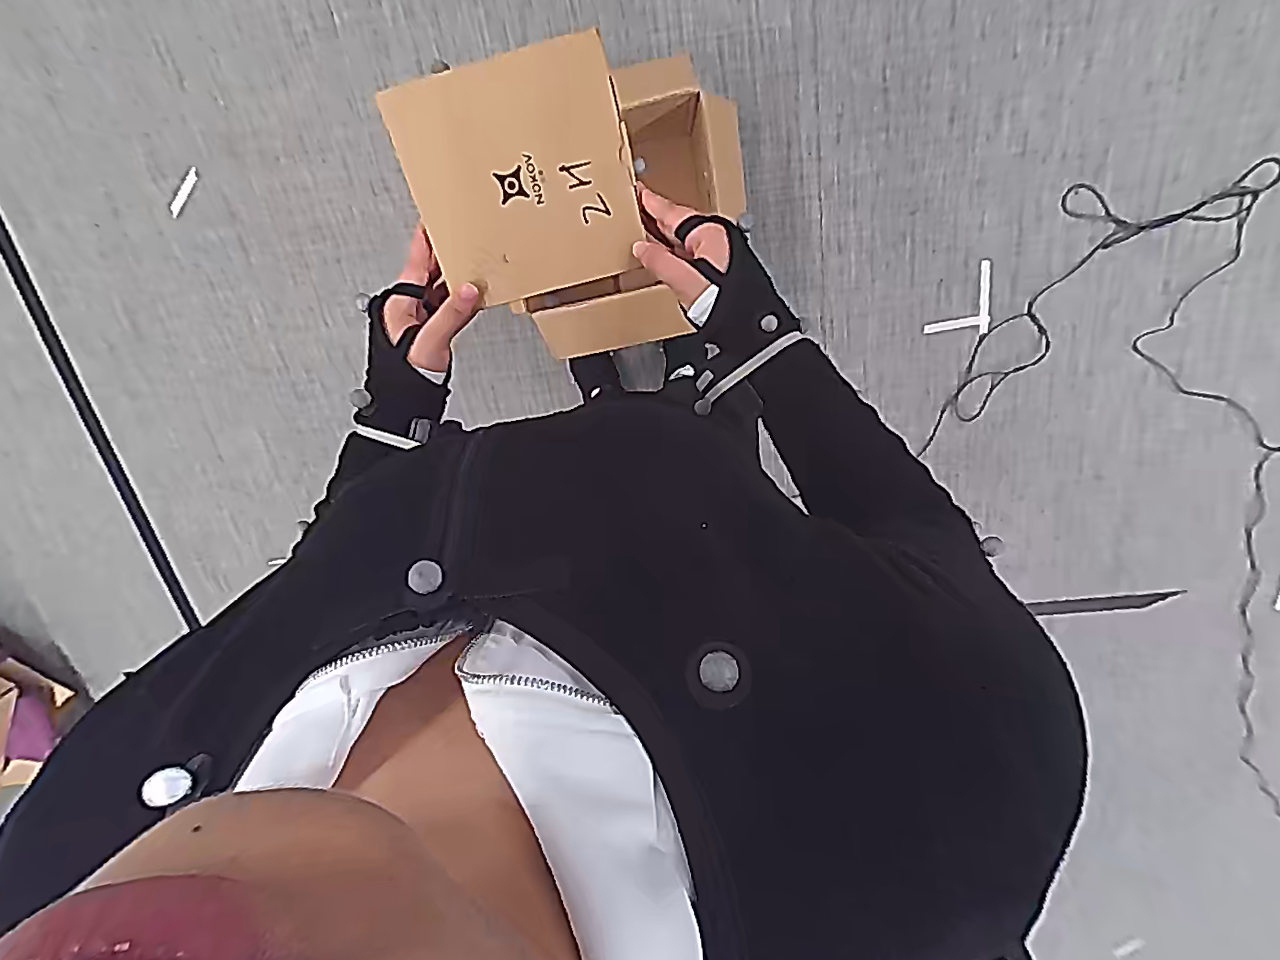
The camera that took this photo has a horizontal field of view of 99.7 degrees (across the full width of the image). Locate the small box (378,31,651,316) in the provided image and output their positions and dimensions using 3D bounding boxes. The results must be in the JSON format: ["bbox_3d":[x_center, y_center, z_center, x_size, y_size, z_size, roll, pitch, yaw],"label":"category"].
[{"bbox_3d":[-0.092,-0.260,0.491,0.179,0.176,0.168,-13,115,4],"label":"small box"}]
